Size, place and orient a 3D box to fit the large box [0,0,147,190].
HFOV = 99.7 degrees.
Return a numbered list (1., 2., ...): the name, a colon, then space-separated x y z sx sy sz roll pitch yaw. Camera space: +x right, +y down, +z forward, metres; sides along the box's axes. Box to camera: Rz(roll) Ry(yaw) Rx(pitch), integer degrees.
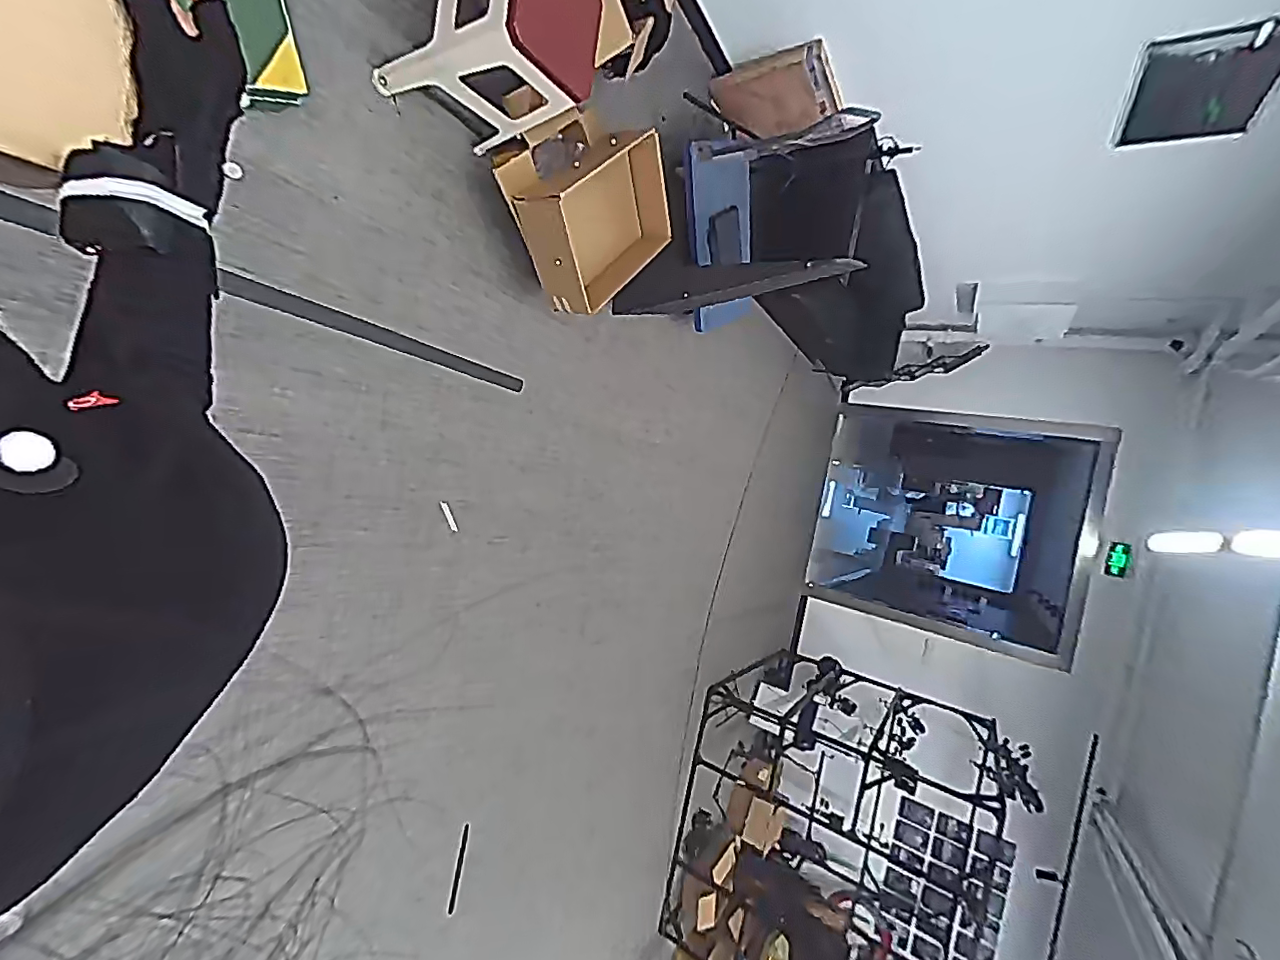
1. large box: -0.585 -0.408 0.296 0.408 0.320 0.320 2 105 -61
